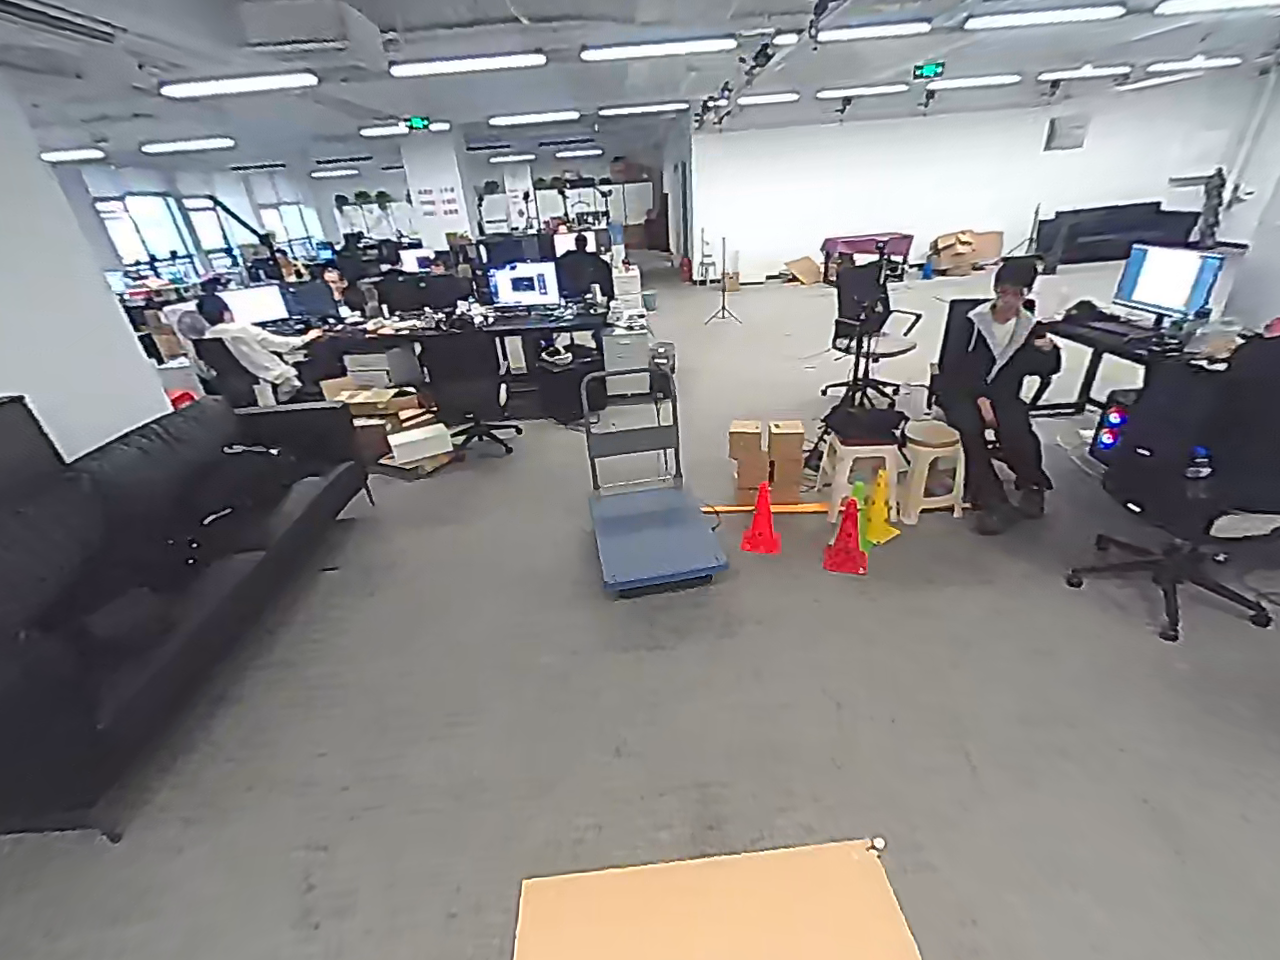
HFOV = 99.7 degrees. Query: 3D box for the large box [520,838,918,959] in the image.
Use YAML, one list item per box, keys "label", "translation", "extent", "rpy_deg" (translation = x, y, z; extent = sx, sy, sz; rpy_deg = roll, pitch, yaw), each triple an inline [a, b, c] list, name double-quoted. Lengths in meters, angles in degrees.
- label: "large box"
  translation: [0.089, 0.643, 0.558]
  extent: [0.408, 0.320, 0.320]
  rpy_deg: [-5, 27, -2]
